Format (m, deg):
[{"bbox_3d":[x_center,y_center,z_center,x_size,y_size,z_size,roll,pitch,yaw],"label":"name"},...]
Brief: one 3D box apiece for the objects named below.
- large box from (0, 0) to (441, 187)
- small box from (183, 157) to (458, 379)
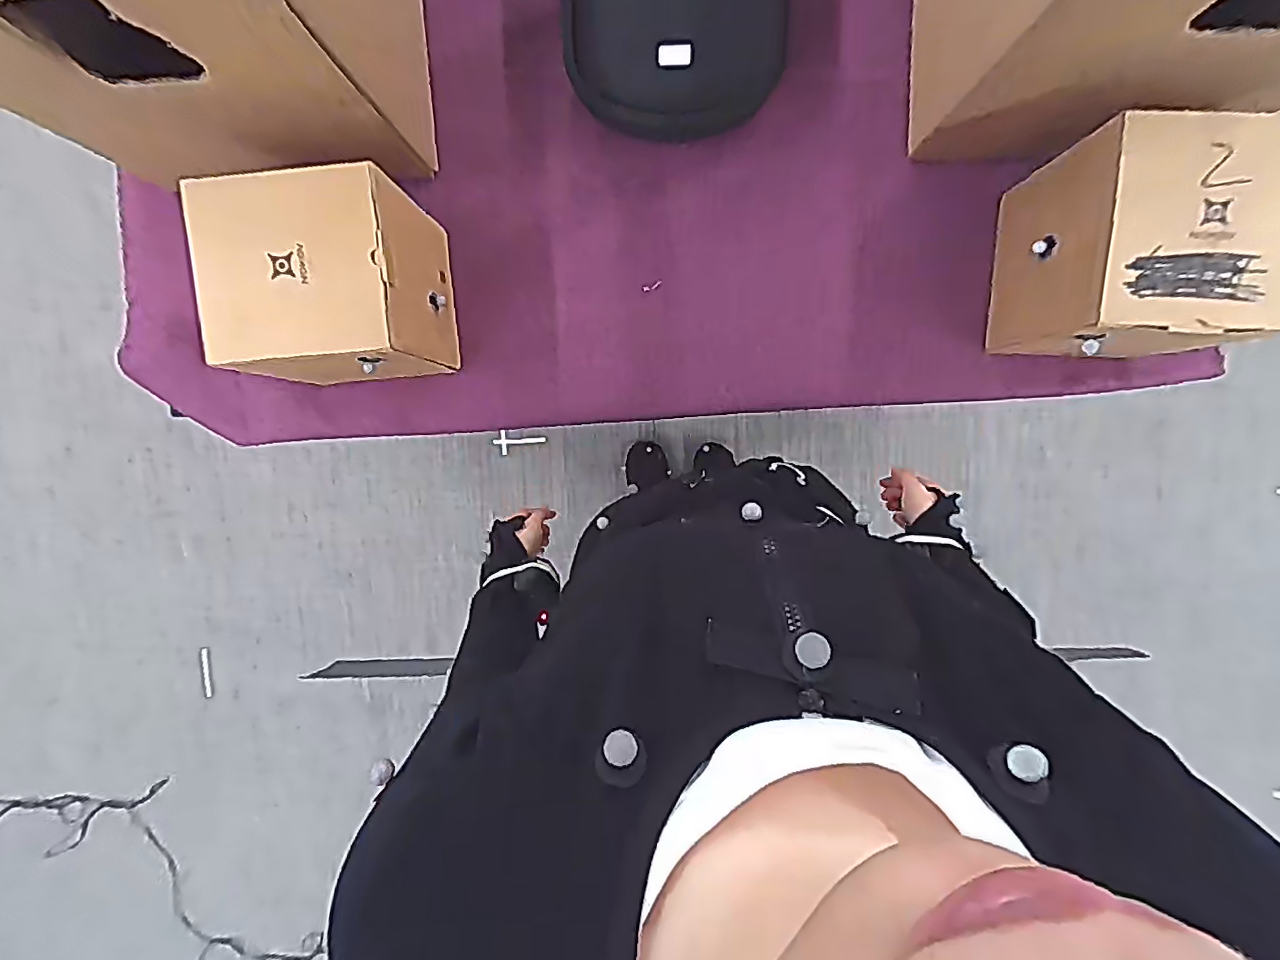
[{"bbox_3d":[-0.395,-0.524,0.462,0.320,0.320,0.408,-4,98,1],"label":"large box"},{"bbox_3d":[-0.313,-0.202,0.564,0.179,0.176,0.168,-6,94,2],"label":"small box"}]
